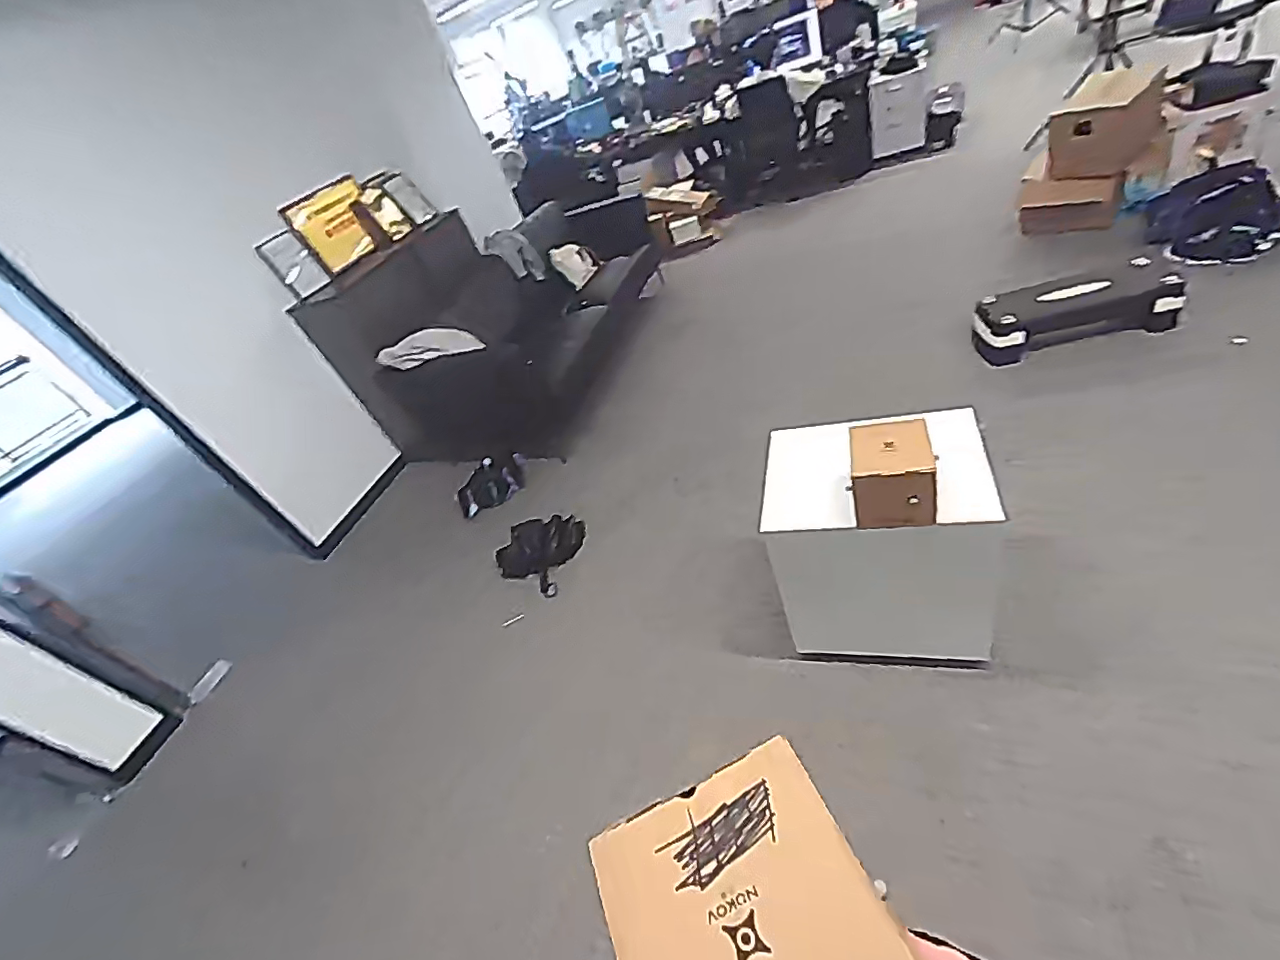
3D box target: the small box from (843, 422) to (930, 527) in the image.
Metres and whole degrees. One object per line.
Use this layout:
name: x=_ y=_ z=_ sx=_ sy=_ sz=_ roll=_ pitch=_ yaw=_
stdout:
small box: x=0.551 y=-0.007 z=1.216 sx=0.168 sy=0.176 sz=0.179 roll=-4 pitch=39 yaw=22

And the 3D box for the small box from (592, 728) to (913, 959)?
small box: x=0.084 y=0.327 z=0.395 sx=0.168 sy=0.176 sz=0.179 roll=-25 pitch=40 yaw=-3
